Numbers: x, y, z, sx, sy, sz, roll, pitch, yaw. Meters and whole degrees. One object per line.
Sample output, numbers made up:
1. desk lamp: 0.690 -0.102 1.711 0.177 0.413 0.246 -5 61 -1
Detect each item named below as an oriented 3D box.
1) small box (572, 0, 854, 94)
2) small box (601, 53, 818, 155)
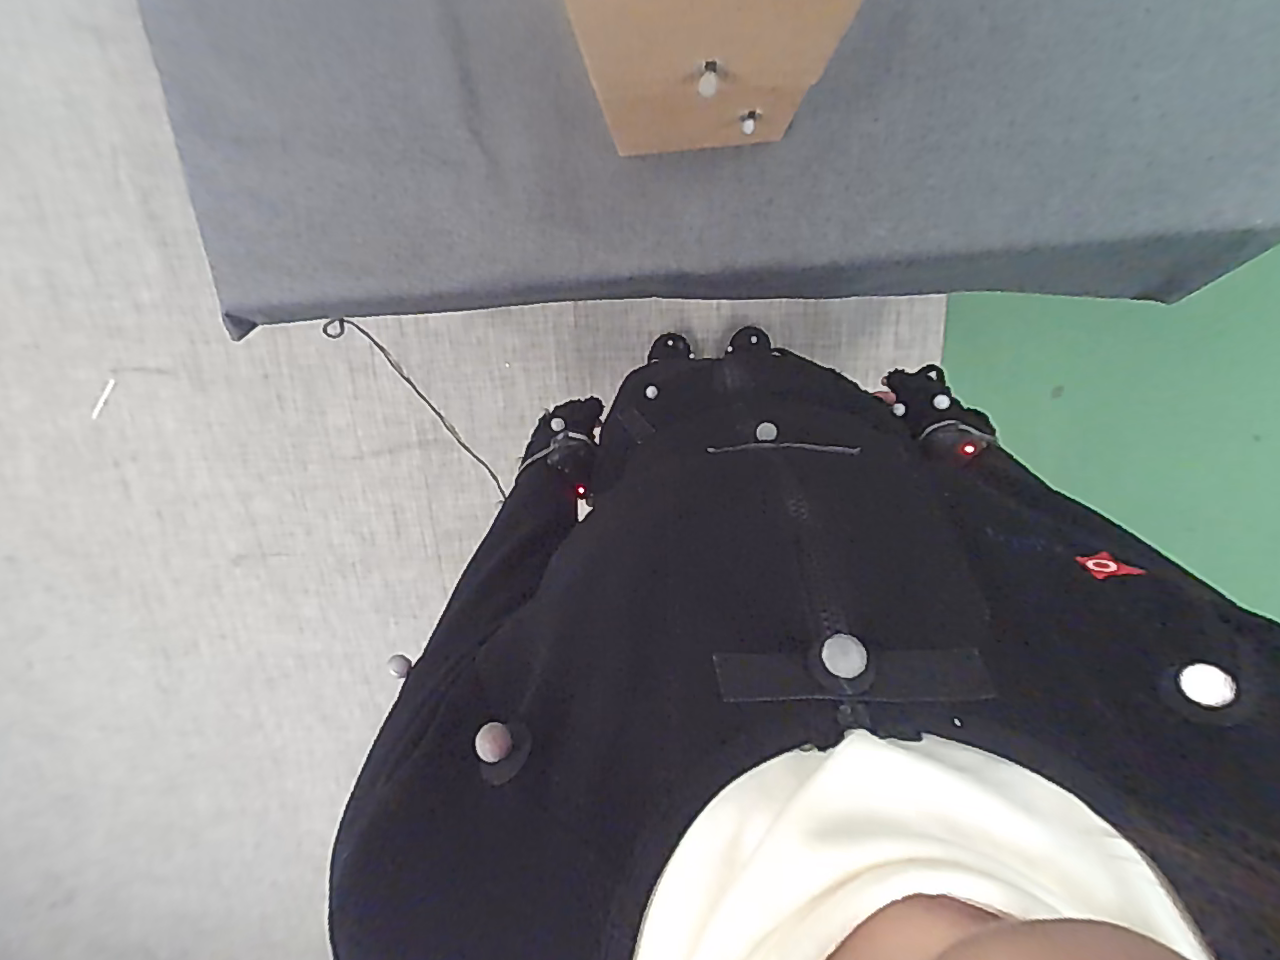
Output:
1. small box: 0.045 -0.370 0.336 0.179 0.176 0.168 -2 105 4
2. small box: 0.054 -0.418 0.492 0.179 0.176 0.168 -4 105 6
